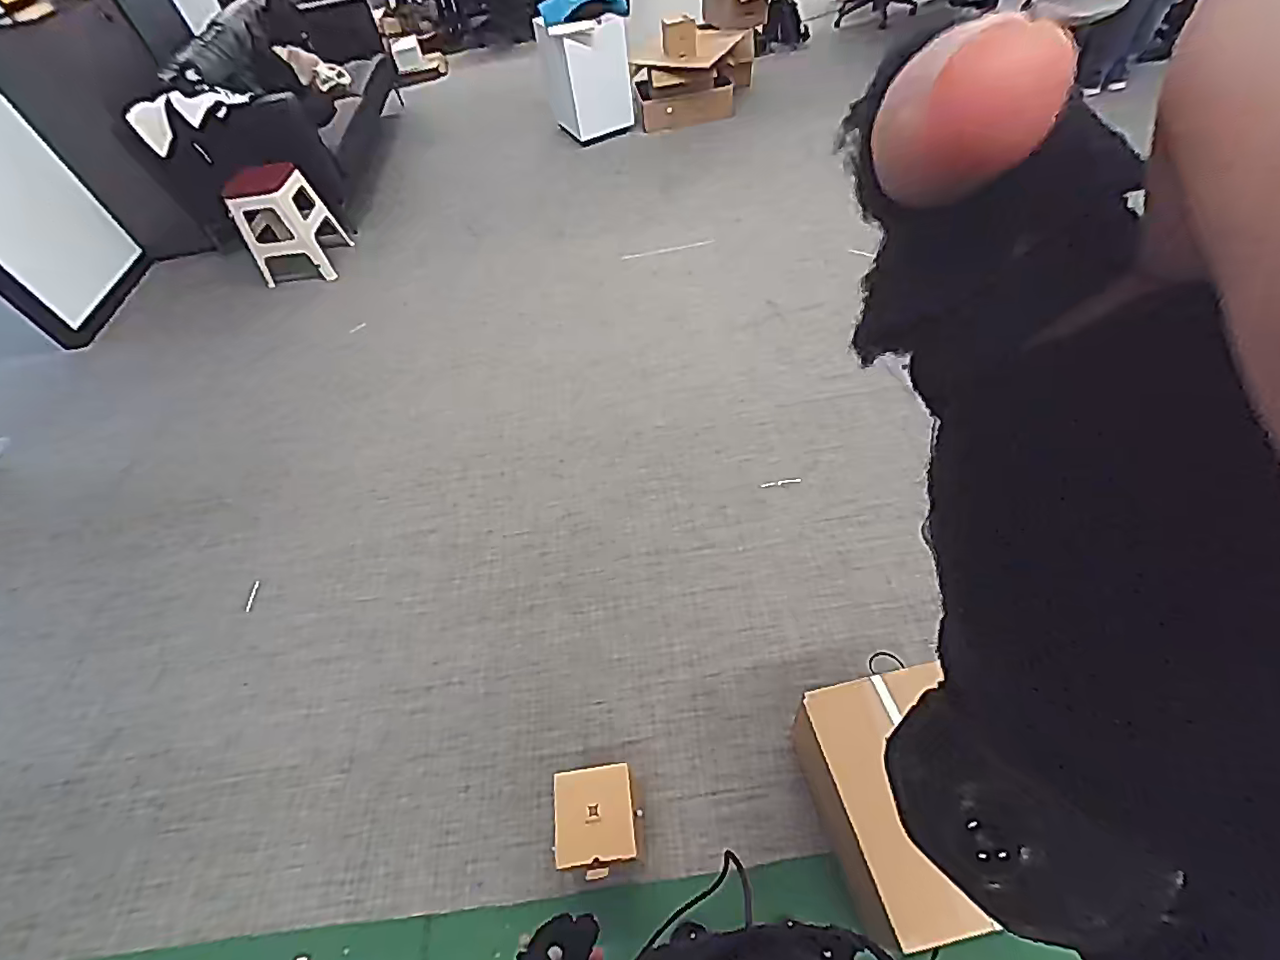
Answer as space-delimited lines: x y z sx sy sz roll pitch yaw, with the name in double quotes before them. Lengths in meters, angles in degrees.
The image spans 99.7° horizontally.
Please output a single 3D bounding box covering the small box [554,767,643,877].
"small box" -0.090 0.757 1.192 0.168 0.176 0.179 -10 52 1
